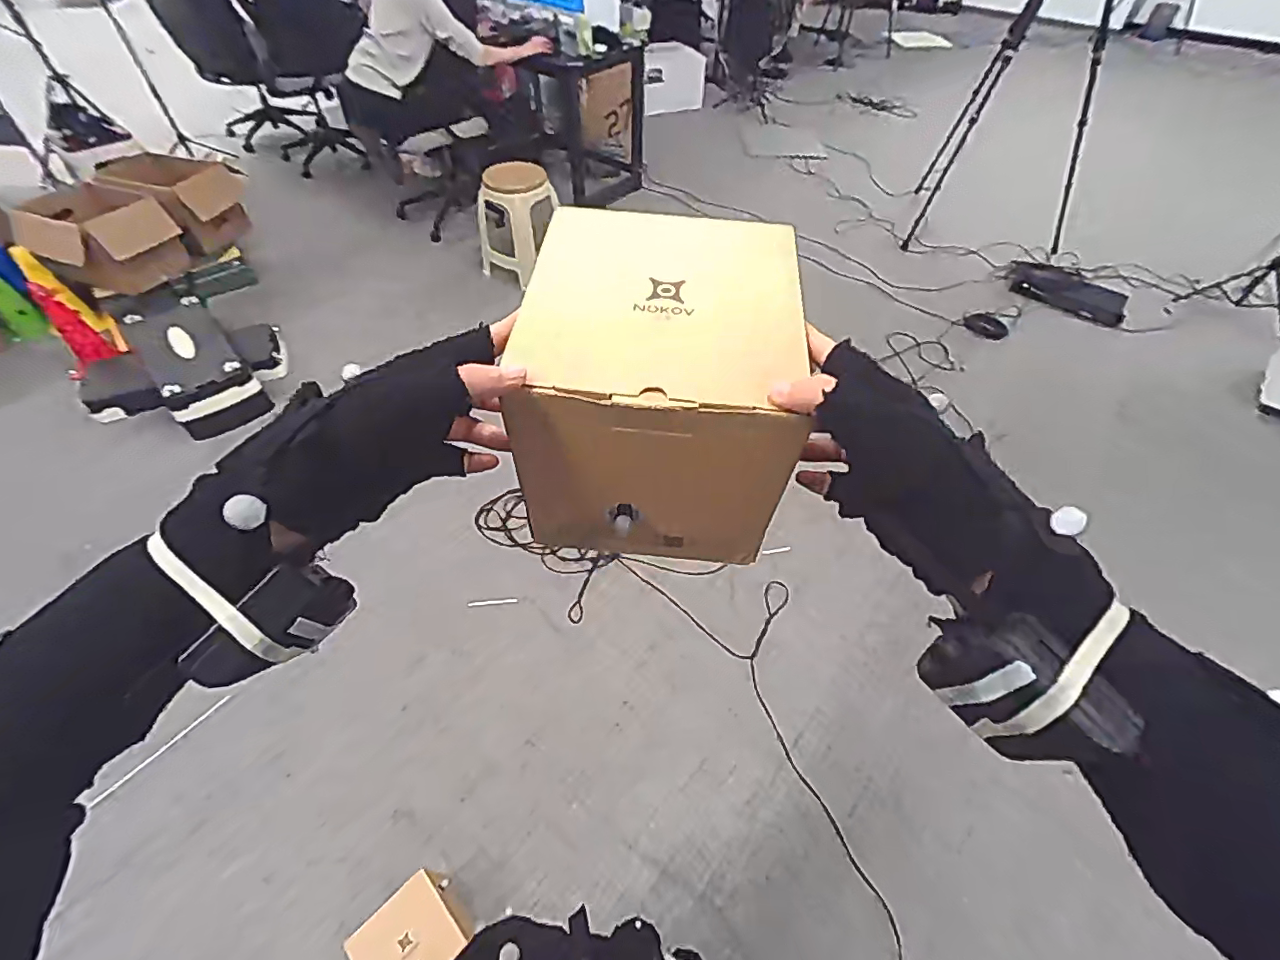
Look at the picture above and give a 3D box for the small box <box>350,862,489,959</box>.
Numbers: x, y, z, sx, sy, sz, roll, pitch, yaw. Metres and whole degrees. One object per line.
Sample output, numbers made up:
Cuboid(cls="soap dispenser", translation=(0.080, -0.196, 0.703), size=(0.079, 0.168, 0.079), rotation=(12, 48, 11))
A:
Cuboid(cls="small box", translation=(-0.422, 0.898, 1.057), size=(0.168, 0.176, 0.179), rotation=(-37, 60, -26))
